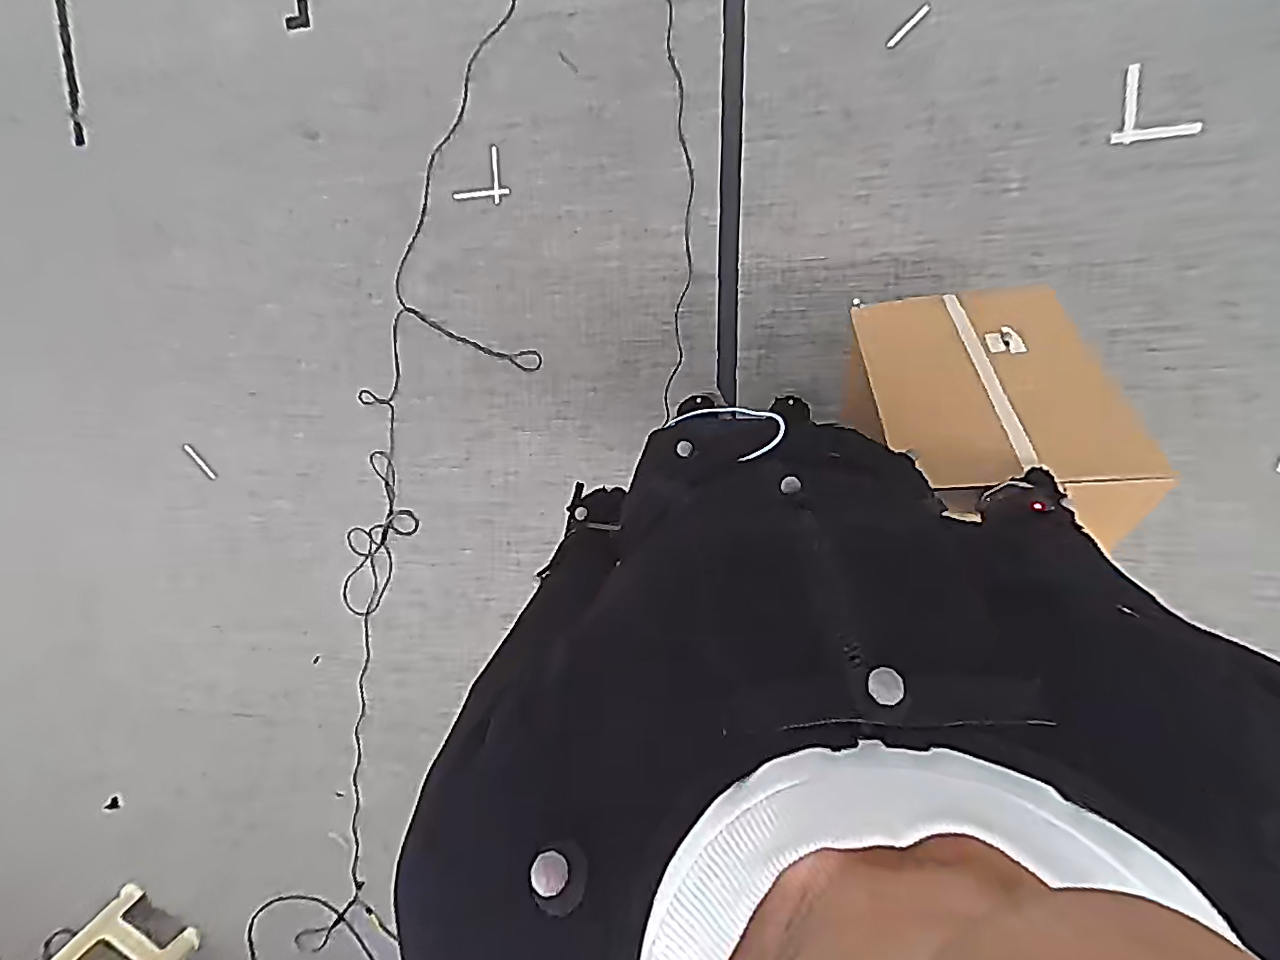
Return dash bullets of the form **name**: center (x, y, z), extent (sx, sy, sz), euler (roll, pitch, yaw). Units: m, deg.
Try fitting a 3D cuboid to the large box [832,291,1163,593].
- **large box**: center (0.530, -0.059, 0.922), extent (0.320, 0.408, 0.320), euler (-3, 141, 9)
